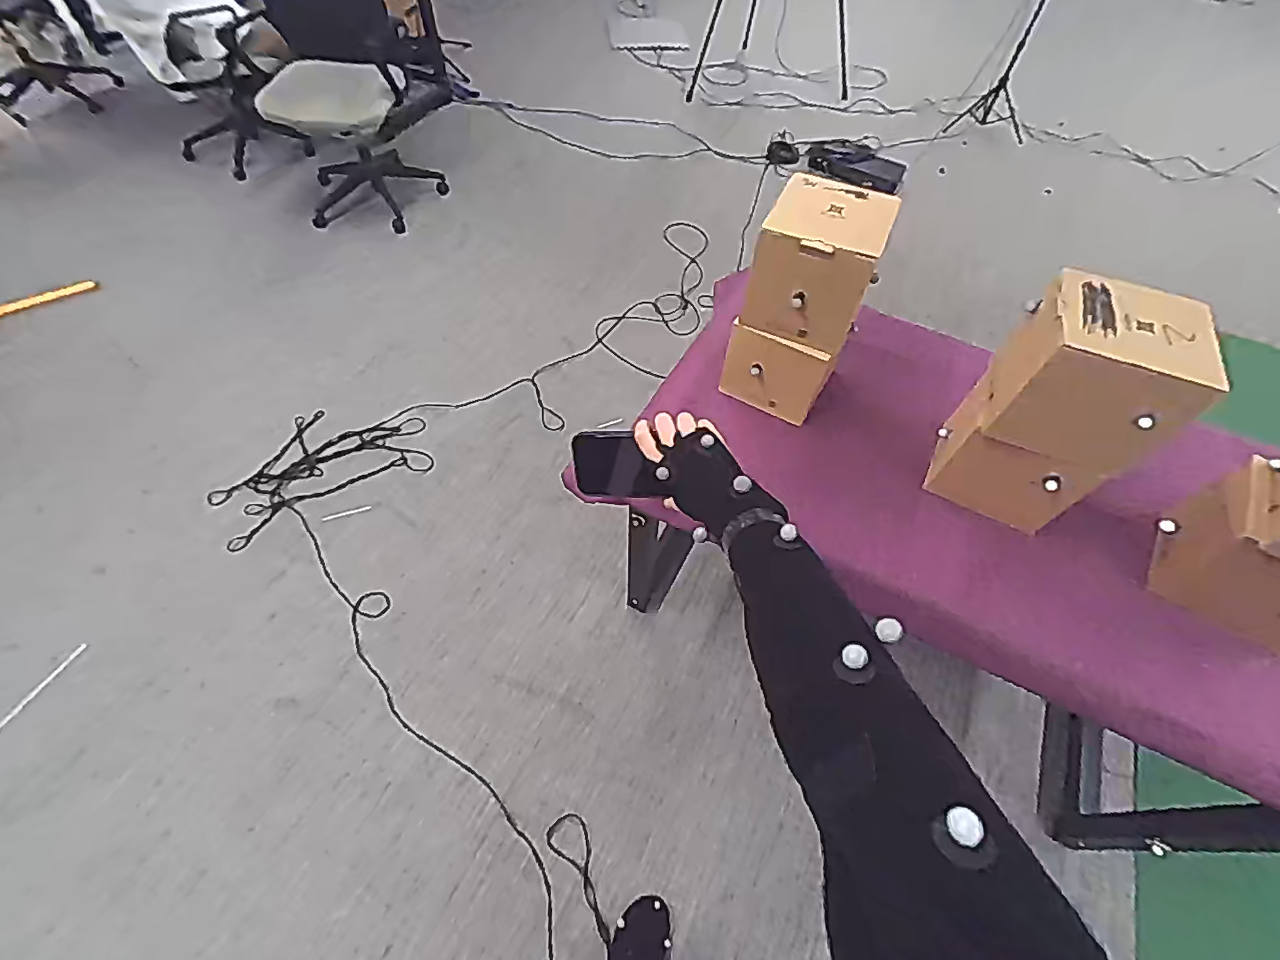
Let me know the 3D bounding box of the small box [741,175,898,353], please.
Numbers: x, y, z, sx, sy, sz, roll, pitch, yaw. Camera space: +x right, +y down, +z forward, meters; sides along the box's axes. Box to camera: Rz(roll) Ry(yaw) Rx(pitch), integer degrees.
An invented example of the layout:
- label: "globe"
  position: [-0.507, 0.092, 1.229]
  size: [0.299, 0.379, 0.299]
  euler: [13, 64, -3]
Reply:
- label: "small box"
  position: [0.267, -0.328, 0.835]
  size: [0.168, 0.176, 0.179]
  euler: [23, 59, 12]

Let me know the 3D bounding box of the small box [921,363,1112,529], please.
- label: "small box"
  position: [0.583, -0.046, 0.852]
  size: [0.179, 0.176, 0.168]
  euler: [27, 59, 16]

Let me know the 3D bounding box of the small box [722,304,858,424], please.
- label: "small box"
  position: [0.258, -0.230, 0.967]
  size: [0.168, 0.176, 0.179]
  euler: [27, 59, 16]

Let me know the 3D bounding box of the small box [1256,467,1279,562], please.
- label: "small box"
  position: [0.873, 0.037, 0.611]
  size: [0.179, 0.176, 0.168]
  euler: [33, 61, 18]

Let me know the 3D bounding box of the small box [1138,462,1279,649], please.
- label: "small box"
  position: [0.868, 0.113, 0.756]
  size: [0.179, 0.176, 0.168]
  euler: [33, 61, 19]
